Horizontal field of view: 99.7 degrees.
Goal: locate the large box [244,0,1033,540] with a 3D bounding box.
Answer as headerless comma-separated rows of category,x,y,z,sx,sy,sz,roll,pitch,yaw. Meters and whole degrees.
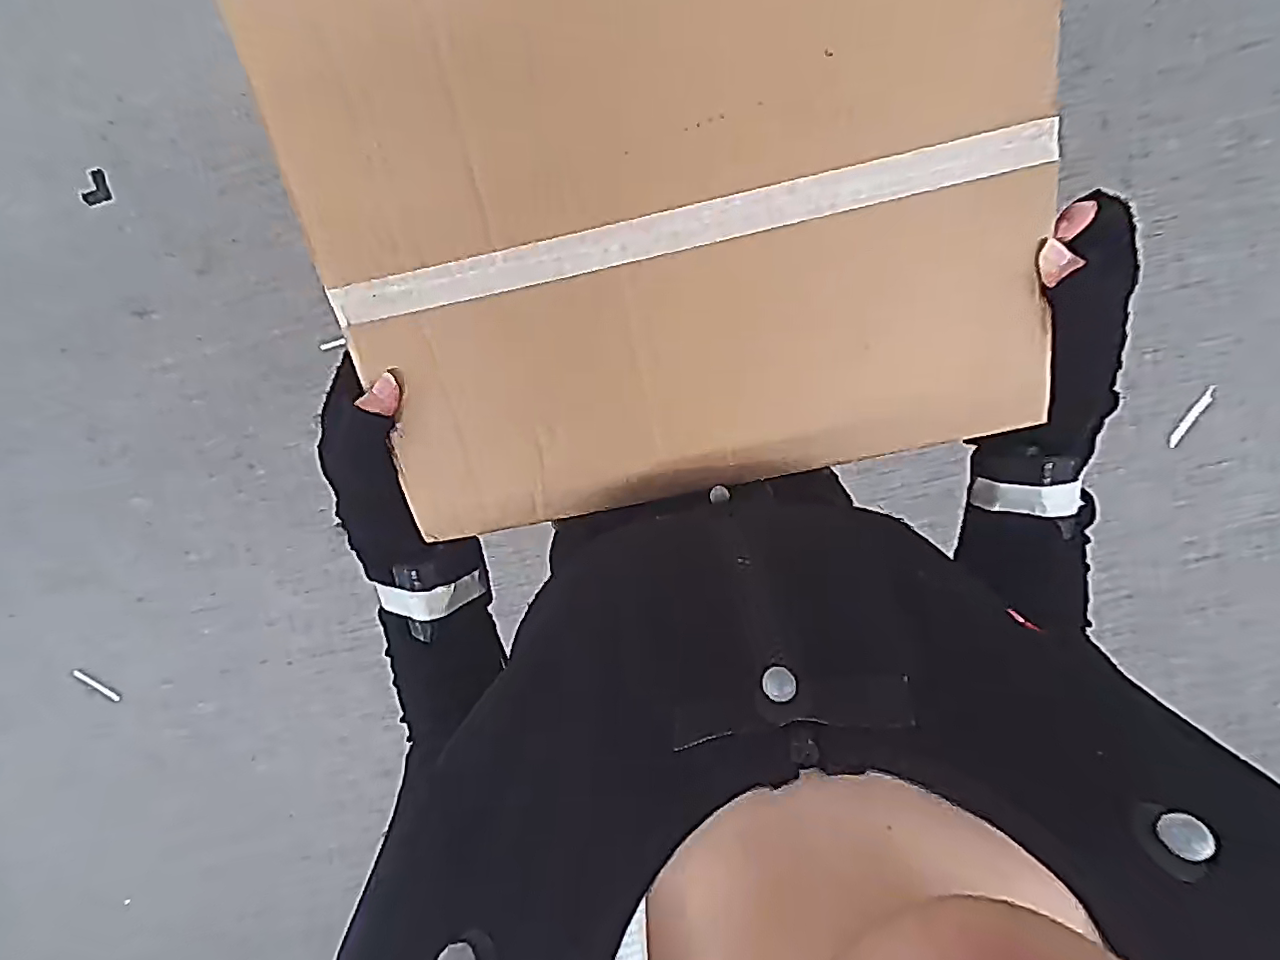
large box,0.020,-0.189,0.451,0.408,0.320,0.320,-11,109,4
